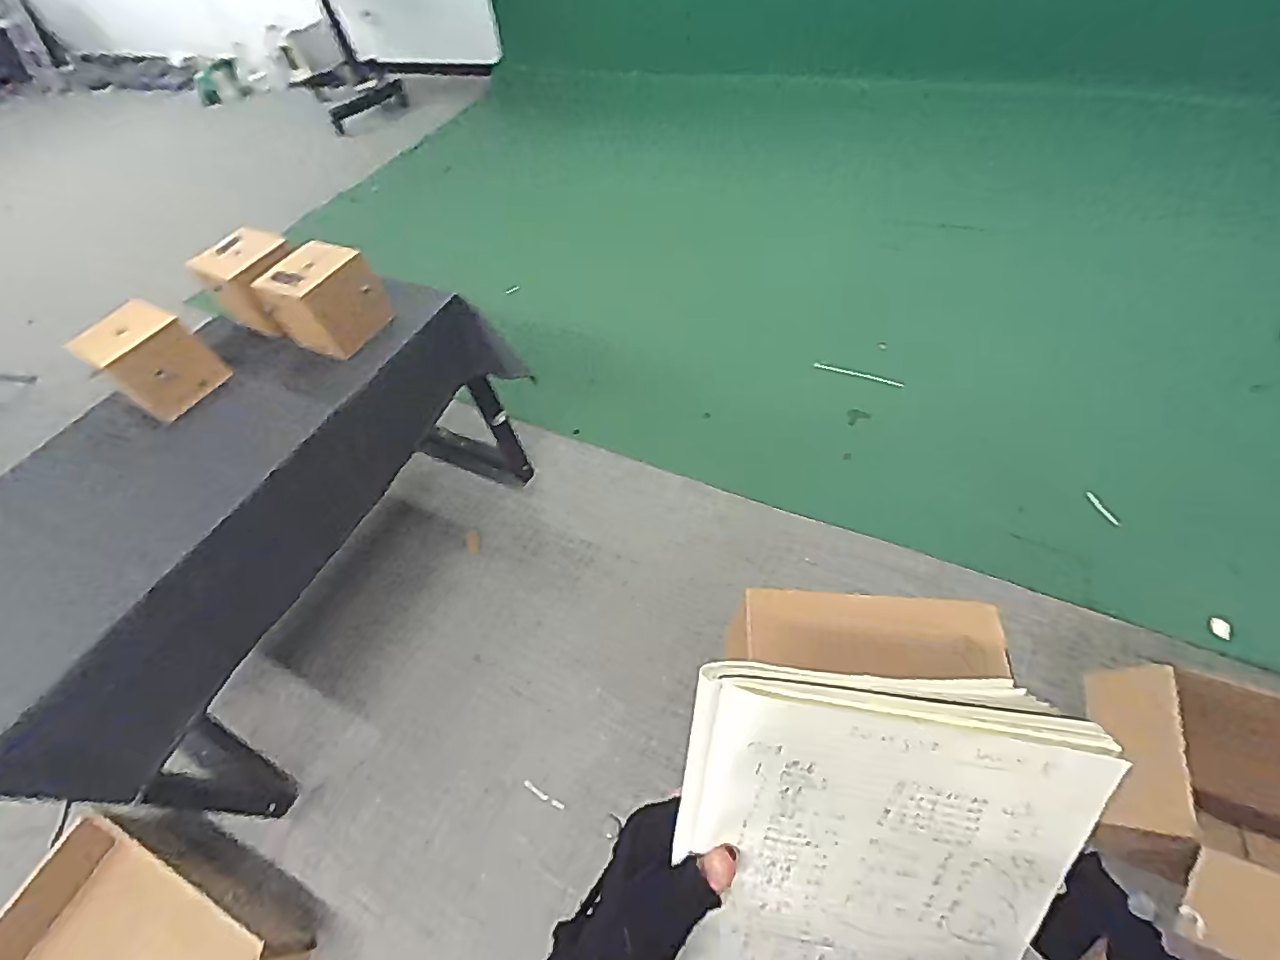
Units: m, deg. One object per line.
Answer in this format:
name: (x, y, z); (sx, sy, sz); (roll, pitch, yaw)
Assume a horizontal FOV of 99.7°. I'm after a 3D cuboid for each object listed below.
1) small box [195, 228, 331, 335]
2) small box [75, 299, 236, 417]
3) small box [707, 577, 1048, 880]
small box: (-0.909, -0.481, 1.319); (0.179, 0.176, 0.168); (22, 61, 22)
small box: (-1.050, -0.264, 1.188); (0.179, 0.176, 0.168); (22, 61, 23)
small box: (0.150, 0.185, 0.413); (0.179, 0.176, 0.168); (3, 60, 2)
